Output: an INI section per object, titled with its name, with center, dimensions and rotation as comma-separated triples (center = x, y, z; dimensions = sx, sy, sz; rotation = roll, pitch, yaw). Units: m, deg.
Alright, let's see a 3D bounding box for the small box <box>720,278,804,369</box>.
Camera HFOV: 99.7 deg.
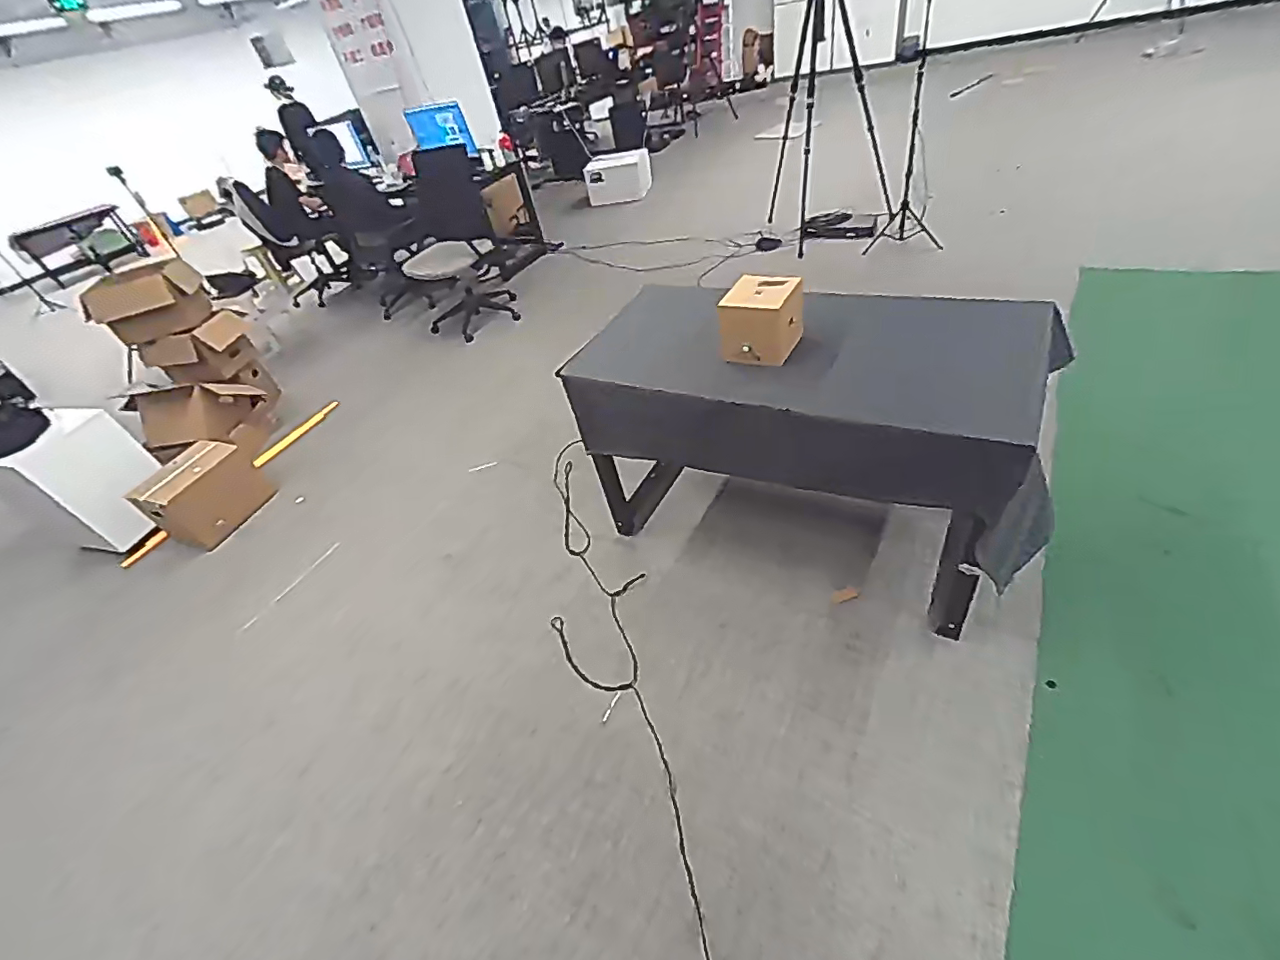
[small box]
center = 0.331, -0.423, 1.452
dimensions = 0.168, 0.176, 0.179
rotation = 15, 49, 30
